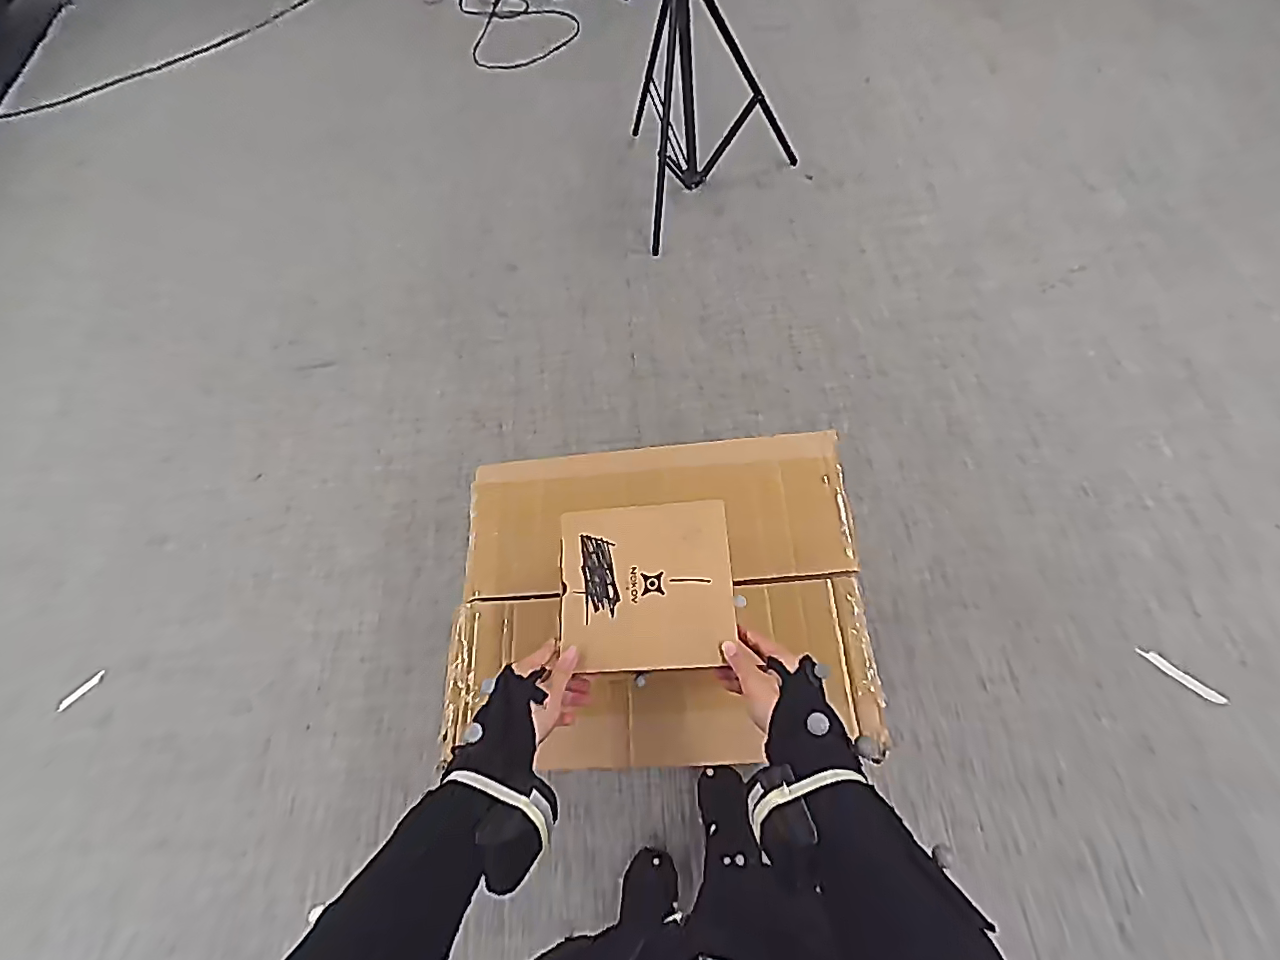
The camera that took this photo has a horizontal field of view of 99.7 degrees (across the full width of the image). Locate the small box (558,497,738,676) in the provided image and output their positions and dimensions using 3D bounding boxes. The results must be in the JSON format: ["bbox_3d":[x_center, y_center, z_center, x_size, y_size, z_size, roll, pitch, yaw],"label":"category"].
[{"bbox_3d":[0.016,0.129,0.612,0.179,0.176,0.168,-5,68,6],"label":"small box"}]
